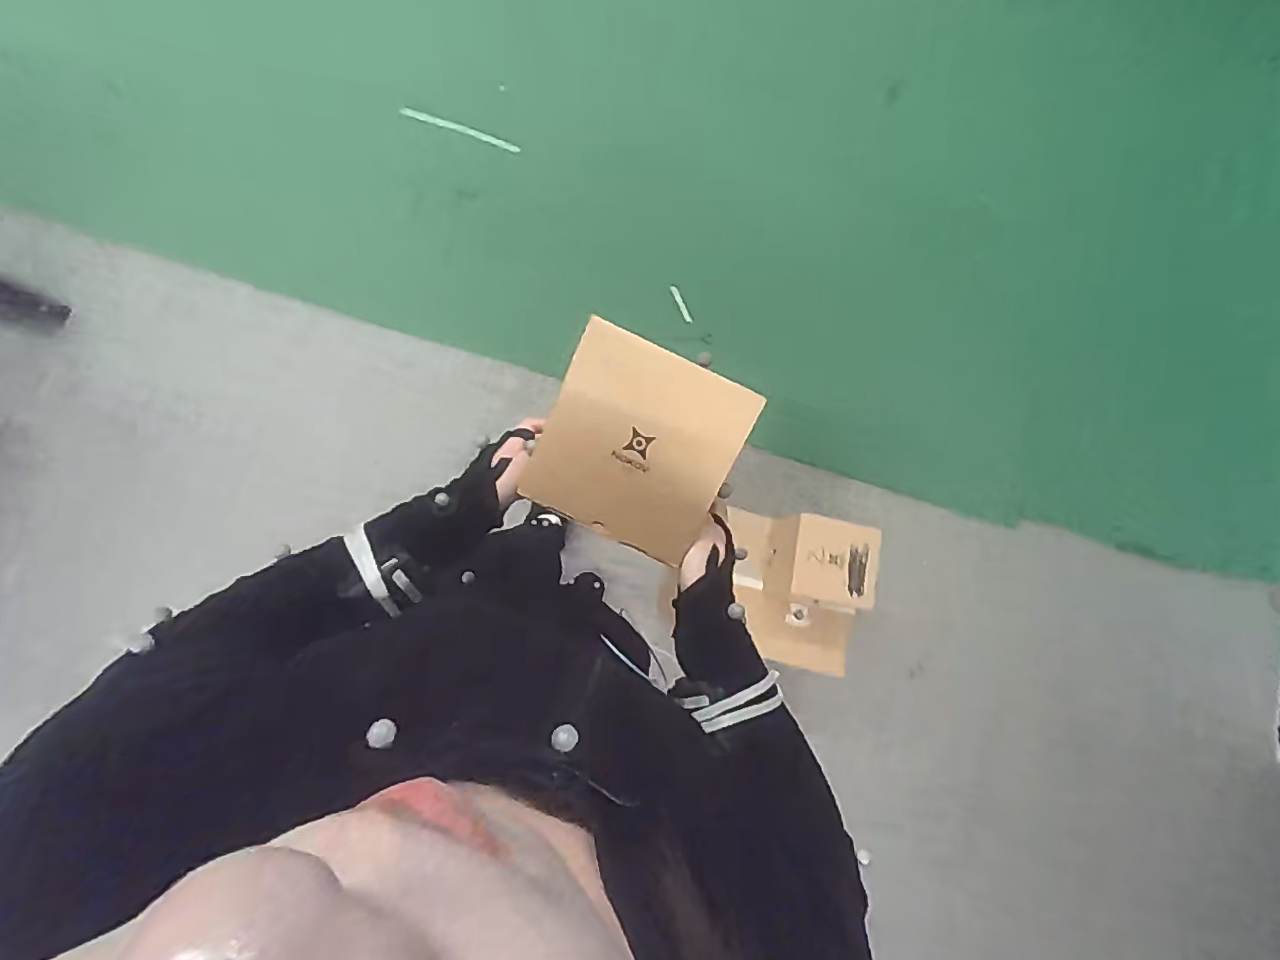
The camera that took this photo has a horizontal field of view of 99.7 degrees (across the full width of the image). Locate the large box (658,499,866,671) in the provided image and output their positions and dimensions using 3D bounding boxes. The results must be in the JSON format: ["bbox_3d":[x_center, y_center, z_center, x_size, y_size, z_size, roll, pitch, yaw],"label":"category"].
[{"bbox_3d":[0.292,0.260,1.388,0.408,0.320,0.320,17,82,-4],"label":"large box"}]
